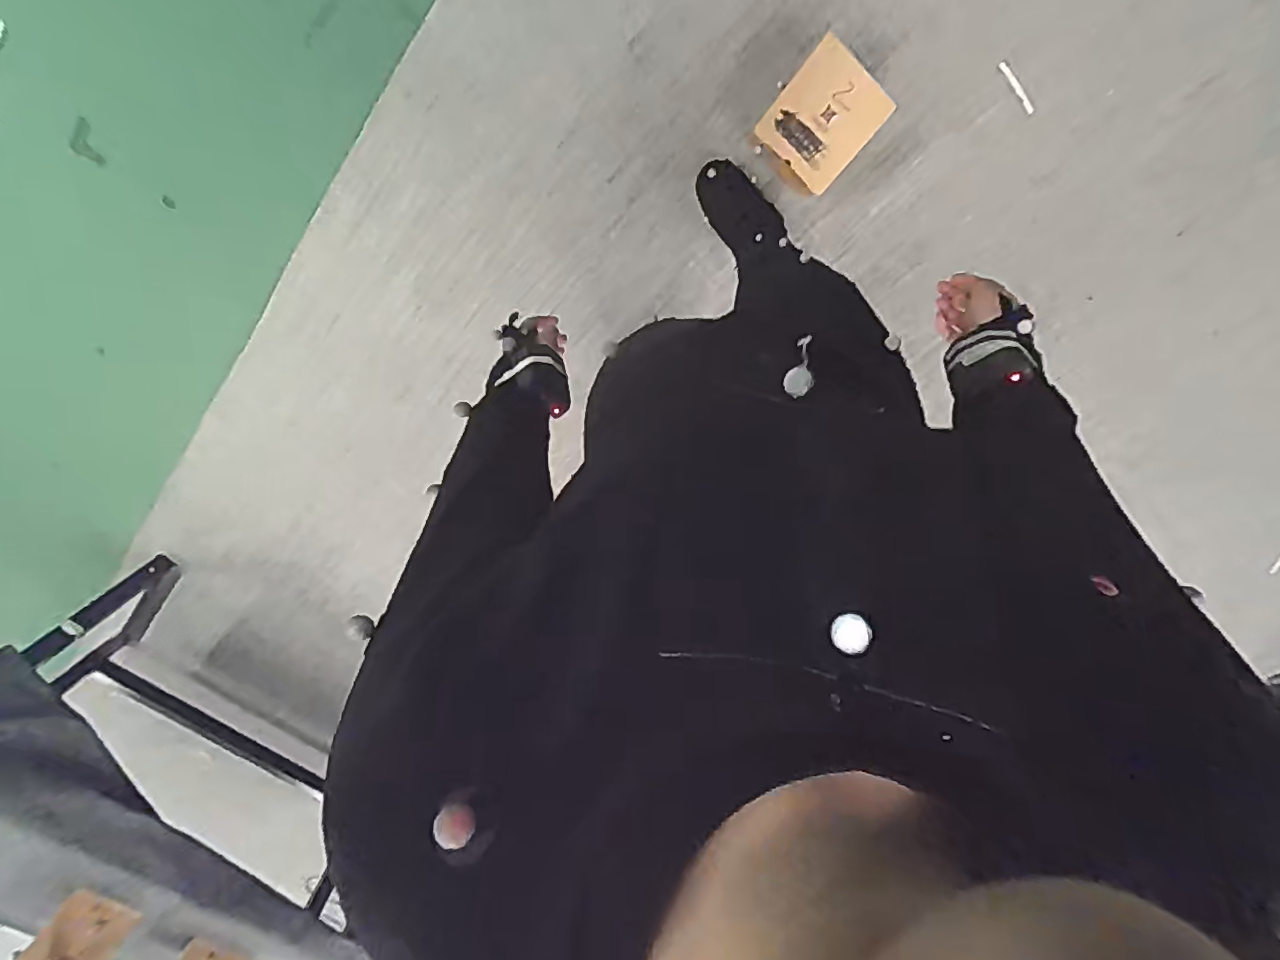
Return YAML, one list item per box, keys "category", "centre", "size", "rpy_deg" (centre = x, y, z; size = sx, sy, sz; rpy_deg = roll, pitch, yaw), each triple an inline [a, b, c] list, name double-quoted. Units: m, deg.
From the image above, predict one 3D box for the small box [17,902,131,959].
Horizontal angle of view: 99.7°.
- category: "small box"
  centre: [-1.385, 1.158, 1.292]
  size: [0.168, 0.176, 0.179]
  rpy_deg: [41, 114, -15]

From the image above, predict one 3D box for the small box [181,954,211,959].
- category: "small box"
  centre: [-1.155, 1.348, 1.370]
  size: [0.168, 0.176, 0.179]
  rpy_deg: [36, 117, -12]
